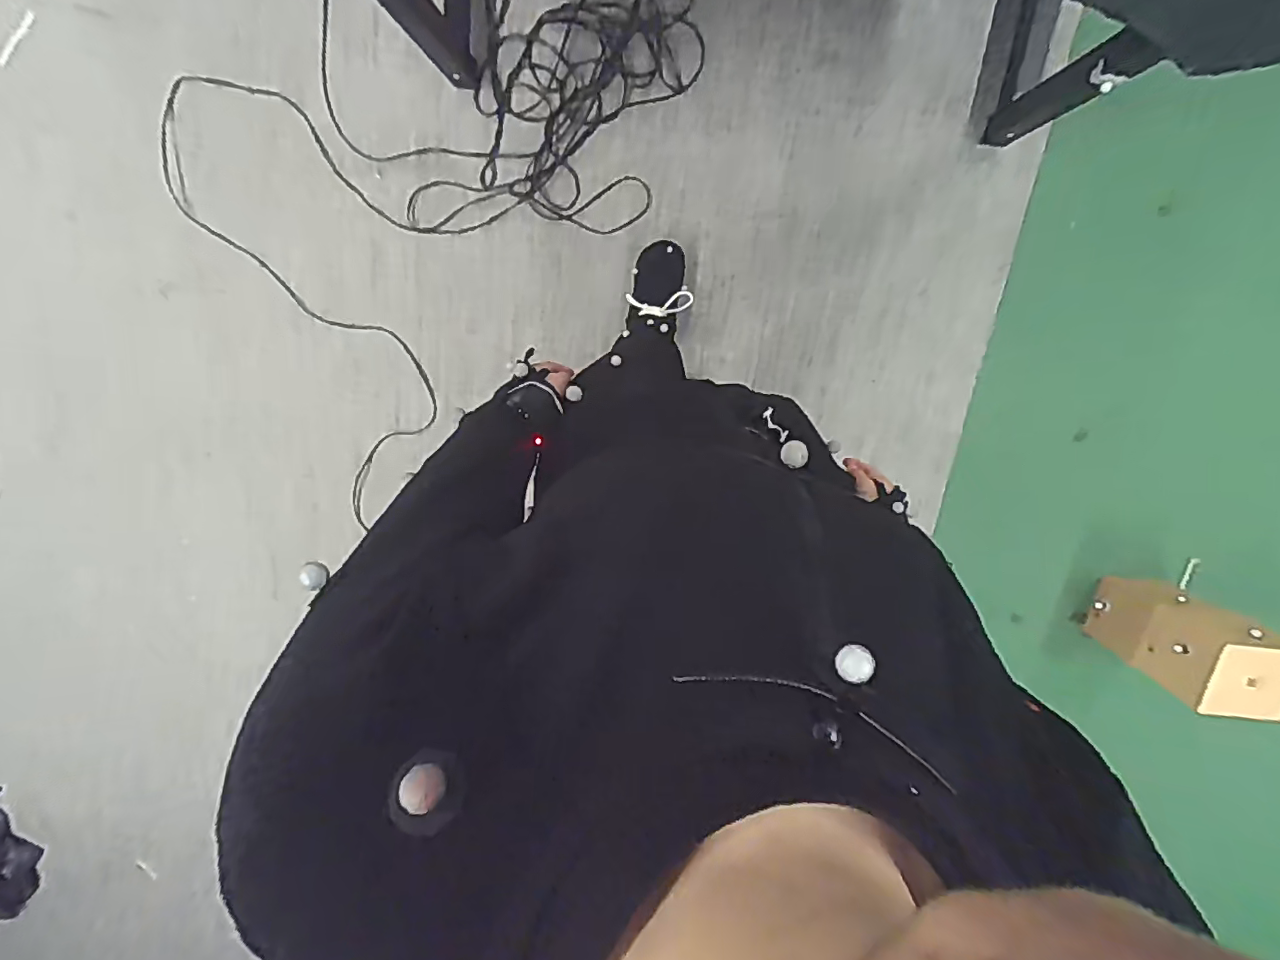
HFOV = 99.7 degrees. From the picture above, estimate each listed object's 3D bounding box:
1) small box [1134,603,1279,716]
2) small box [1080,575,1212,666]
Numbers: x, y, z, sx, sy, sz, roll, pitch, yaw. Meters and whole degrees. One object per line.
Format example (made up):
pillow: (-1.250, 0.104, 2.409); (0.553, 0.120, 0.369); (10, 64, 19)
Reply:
small box: (1.247, 0.382, 1.177); (0.179, 0.176, 0.168); (5, 105, 0)
small box: (1.257, 0.348, 1.336); (0.179, 0.176, 0.168); (6, 105, 2)
